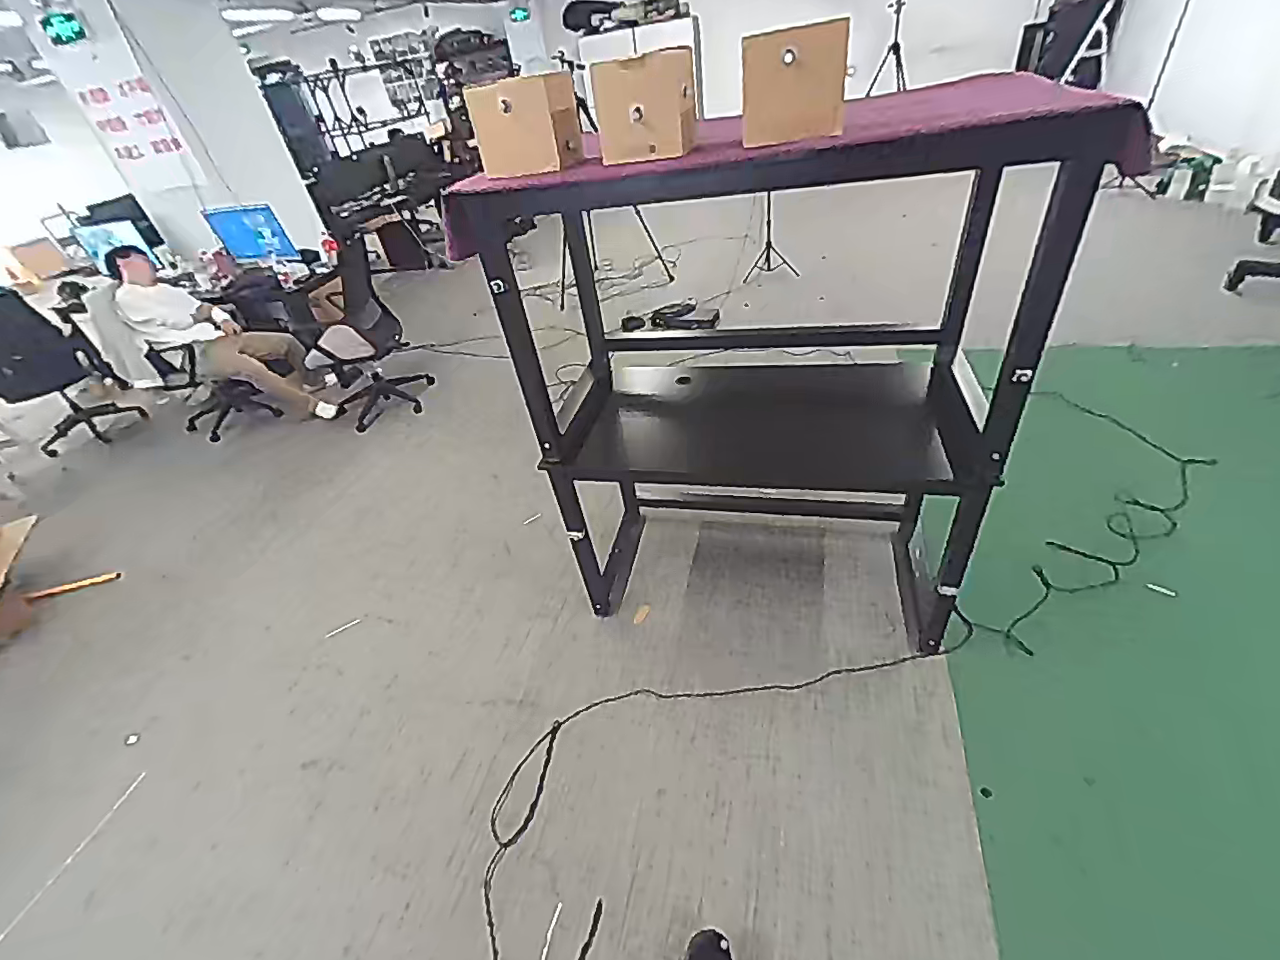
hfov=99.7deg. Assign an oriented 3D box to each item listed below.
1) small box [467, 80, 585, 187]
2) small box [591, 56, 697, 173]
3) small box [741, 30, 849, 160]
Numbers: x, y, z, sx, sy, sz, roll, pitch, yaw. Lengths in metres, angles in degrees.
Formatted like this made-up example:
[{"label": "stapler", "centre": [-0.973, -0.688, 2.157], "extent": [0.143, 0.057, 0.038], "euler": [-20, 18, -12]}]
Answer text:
[{"label": "small box", "centre": [-0.234, -0.740, 1.160], "extent": [0.179, 0.176, 0.168], "euler": [2, 39, 14]}, {"label": "small box", "centre": [0.018, -0.729, 1.087], "extent": [0.168, 0.176, 0.179], "euler": [3, 39, 16]}, {"label": "small box", "centre": [0.288, -0.715, 1.008], "extent": [0.179, 0.176, 0.168], "euler": [2, 38, 18]}]
